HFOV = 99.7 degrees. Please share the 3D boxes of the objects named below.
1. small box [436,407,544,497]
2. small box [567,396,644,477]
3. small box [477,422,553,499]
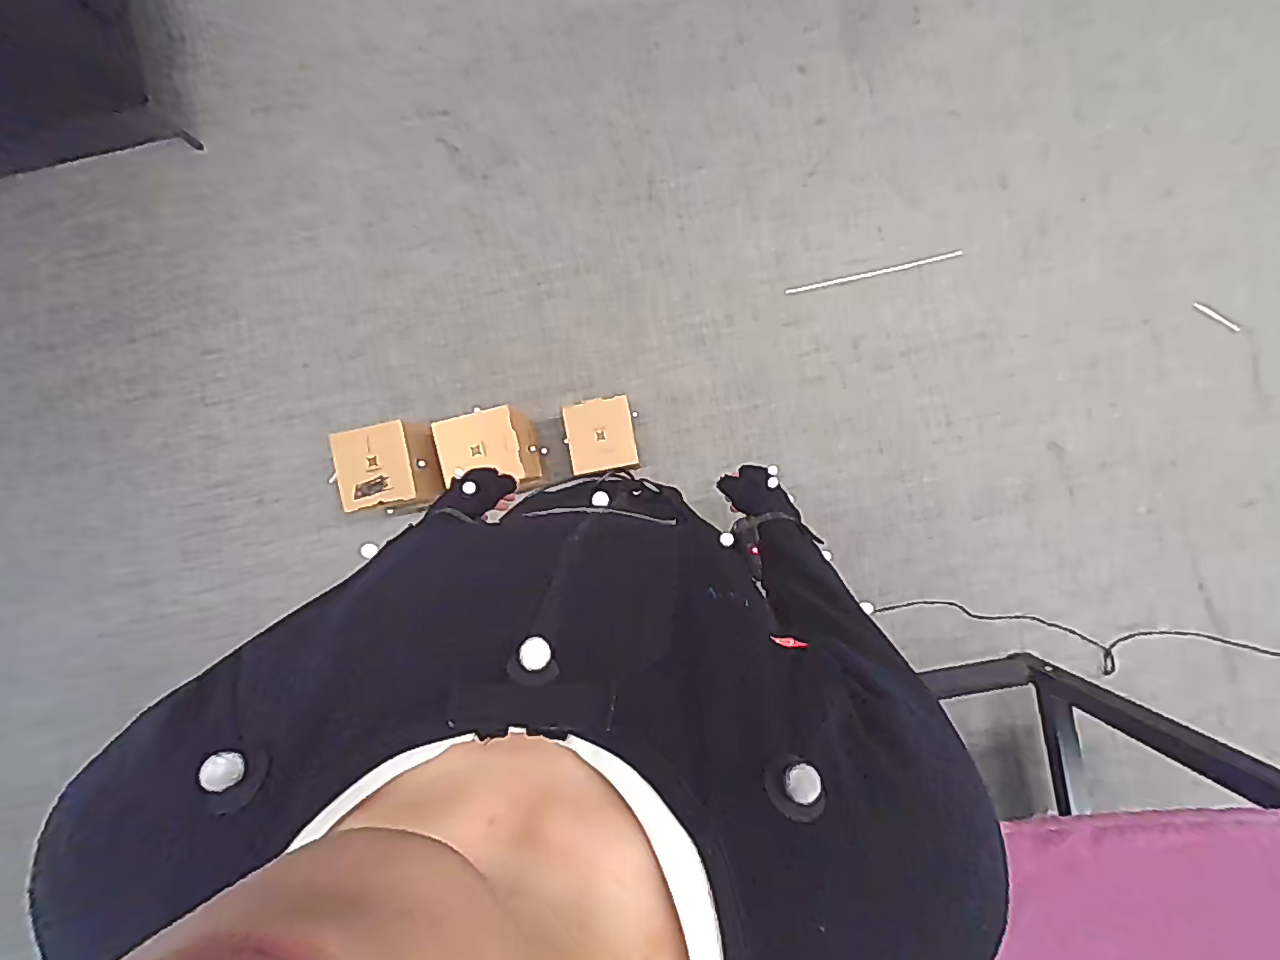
[{"bbox_3d":[-0.338,-0.059,1.246,0.179,0.176,0.168,-15,89,1],"label":"small box"},{"bbox_3d":[-0.086,-0.107,1.404,0.168,0.176,0.179,-11,89,2],"label":"small box"},{"bbox_3d":[-0.336,-0.051,1.409,0.168,0.176,0.179,-13,88,3],"label":"small box"}]
